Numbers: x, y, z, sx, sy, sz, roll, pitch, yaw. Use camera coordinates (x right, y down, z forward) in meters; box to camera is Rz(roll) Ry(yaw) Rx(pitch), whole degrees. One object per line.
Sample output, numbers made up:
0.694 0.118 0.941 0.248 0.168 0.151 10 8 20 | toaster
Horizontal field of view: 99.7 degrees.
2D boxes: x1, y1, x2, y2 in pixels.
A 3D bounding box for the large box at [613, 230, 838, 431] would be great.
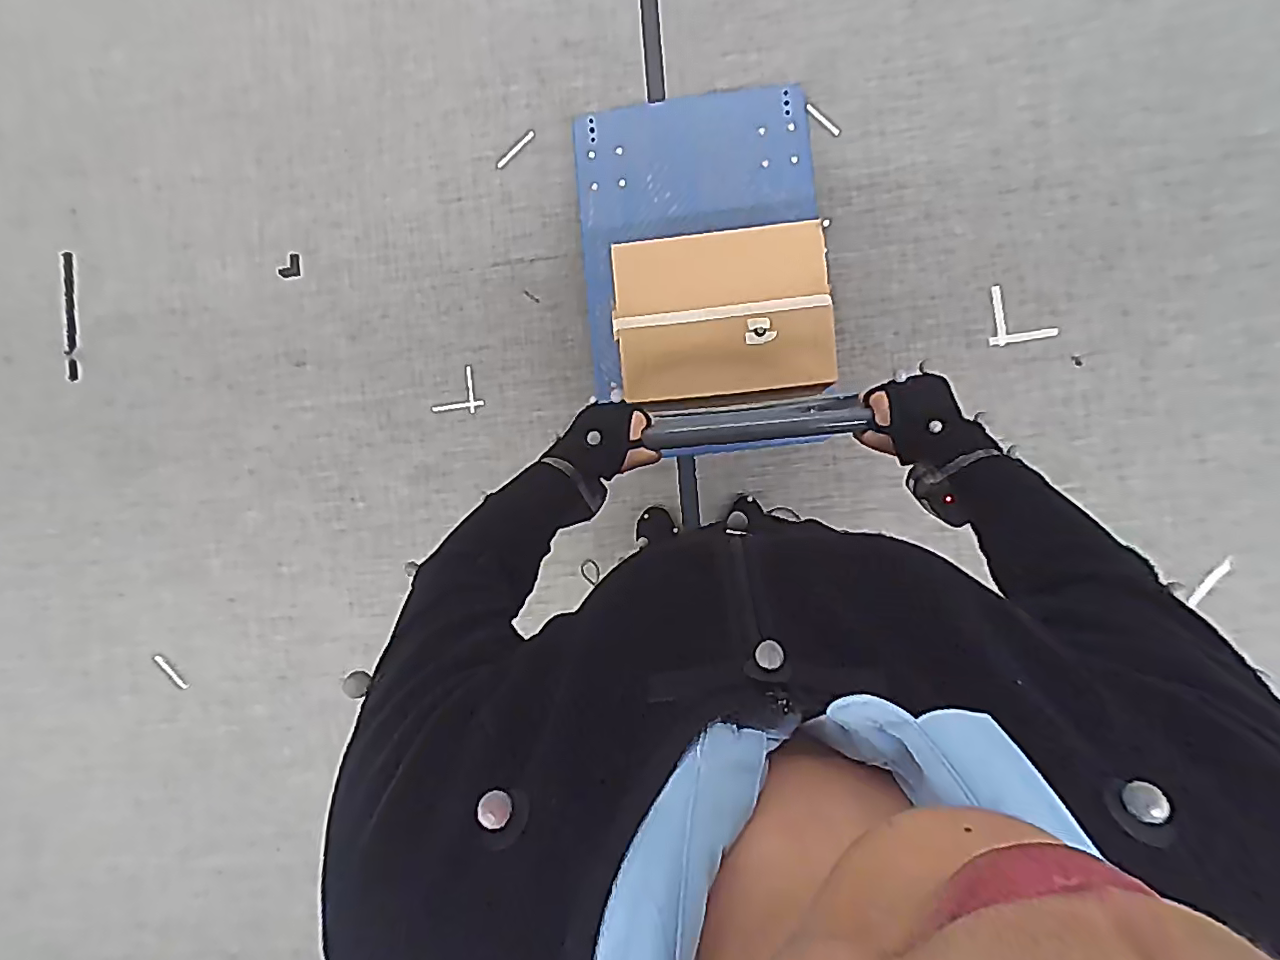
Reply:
0.167 -0.294 1.168 0.408 0.320 0.320 -5 90 4 | large box
